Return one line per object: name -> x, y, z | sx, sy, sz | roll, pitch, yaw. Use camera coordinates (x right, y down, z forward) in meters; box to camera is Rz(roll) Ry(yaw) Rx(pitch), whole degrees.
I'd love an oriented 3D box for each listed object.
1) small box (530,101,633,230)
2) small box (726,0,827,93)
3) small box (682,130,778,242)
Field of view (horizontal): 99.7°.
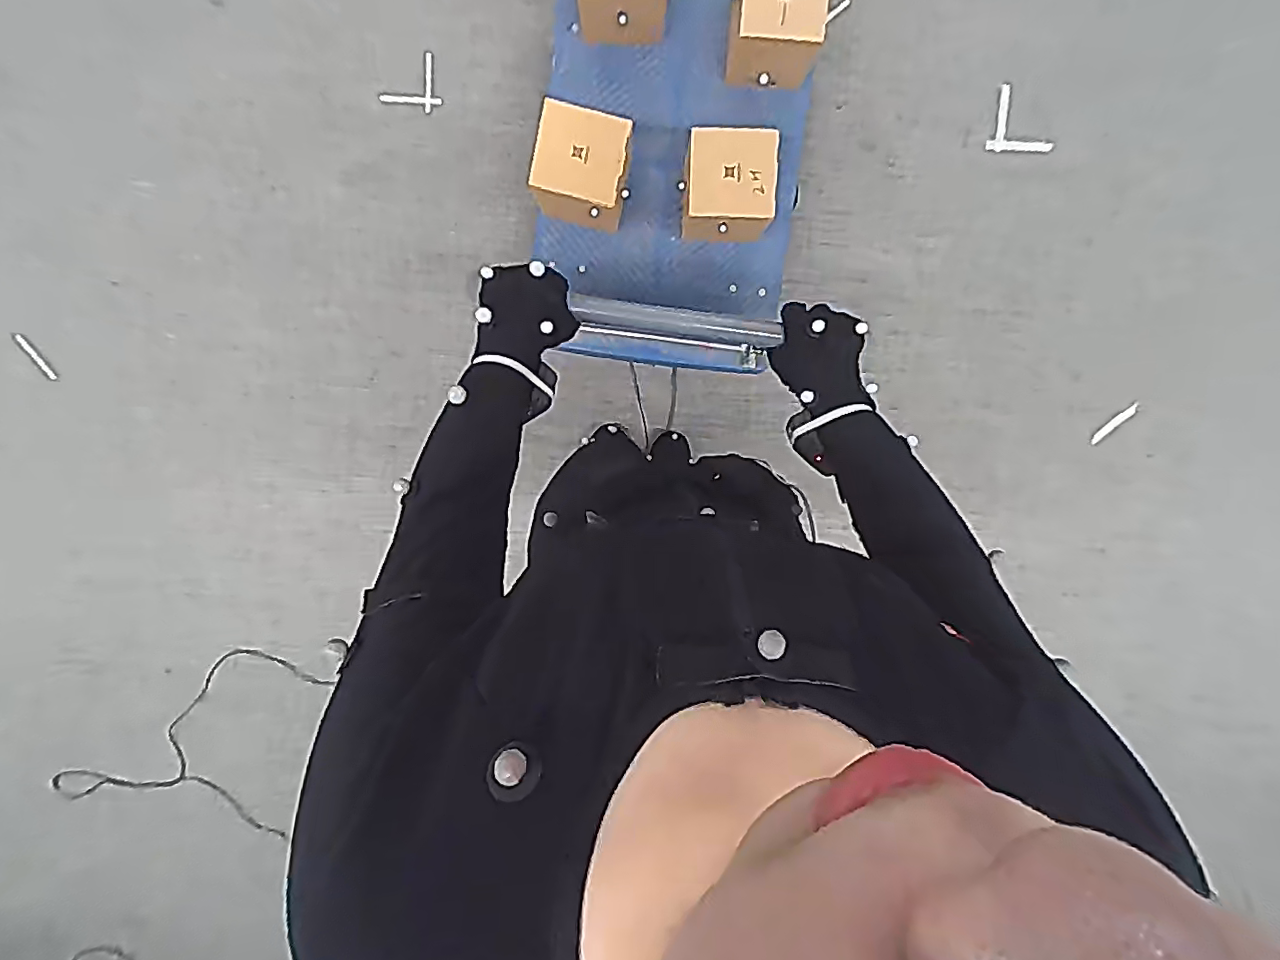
small box -> -0.119, -0.653, 1.146 | 0.179, 0.176, 0.168 | 12, 97, -4
small box -> 0.275, -0.943, 1.111 | 0.168, 0.176, 0.179 | 4, 99, -1
small box -> 0.183, -0.618, 1.155 | 0.179, 0.176, 0.168 | 1, 98, -1
